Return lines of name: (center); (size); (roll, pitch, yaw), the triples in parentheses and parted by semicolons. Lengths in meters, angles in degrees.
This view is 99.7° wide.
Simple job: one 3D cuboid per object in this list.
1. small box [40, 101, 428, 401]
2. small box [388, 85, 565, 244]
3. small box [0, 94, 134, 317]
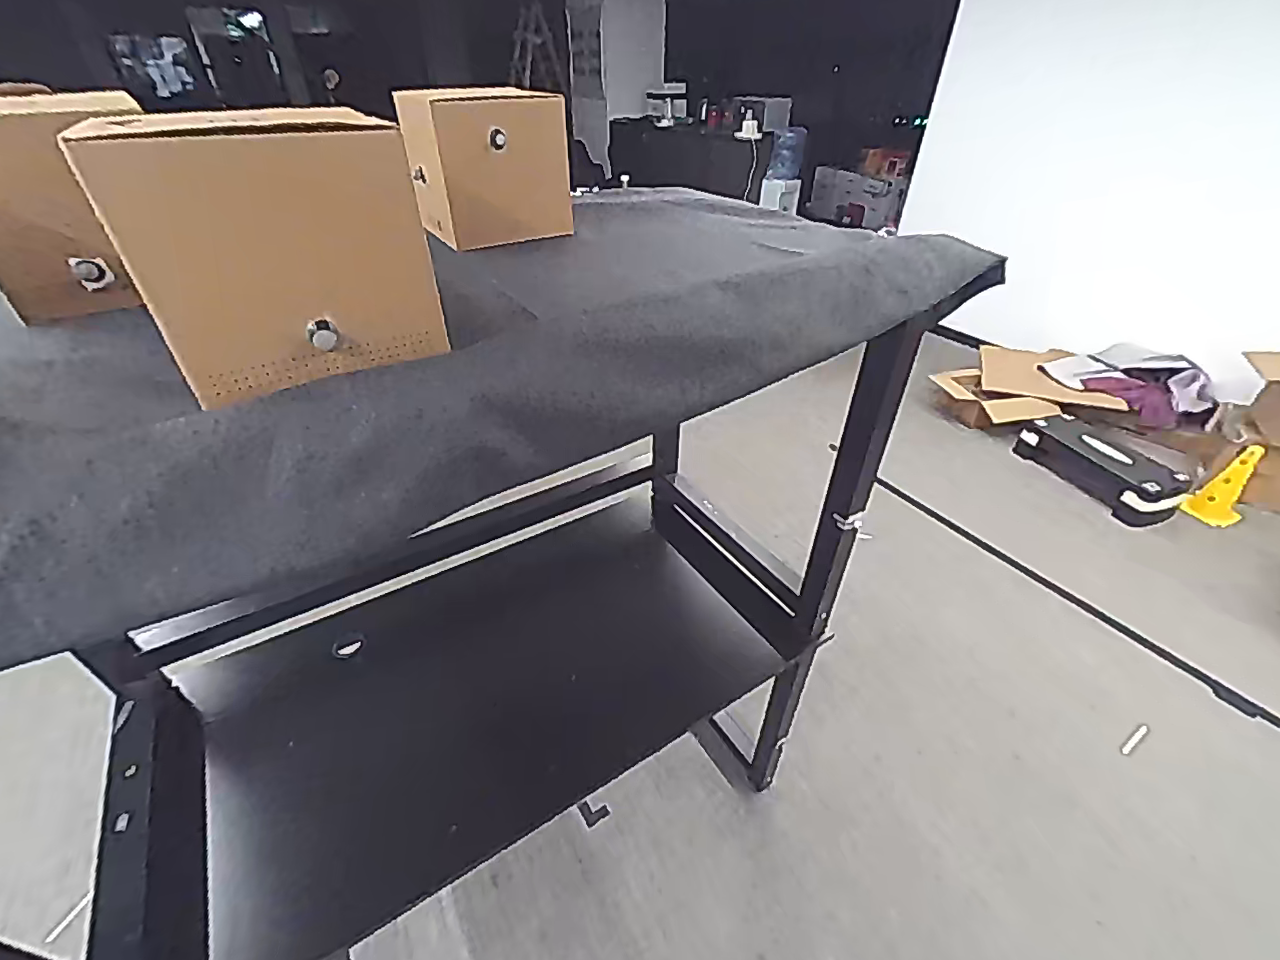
small box: (-0.276, -0.181, 0.412); (0.179, 0.176, 0.168); (-22, 41, -27)
small box: (-0.218, -0.436, 0.744); (0.179, 0.176, 0.168); (-22, 43, -26)
small box: (-0.567, -0.279, 0.541); (0.168, 0.176, 0.179); (-28, 46, -30)
